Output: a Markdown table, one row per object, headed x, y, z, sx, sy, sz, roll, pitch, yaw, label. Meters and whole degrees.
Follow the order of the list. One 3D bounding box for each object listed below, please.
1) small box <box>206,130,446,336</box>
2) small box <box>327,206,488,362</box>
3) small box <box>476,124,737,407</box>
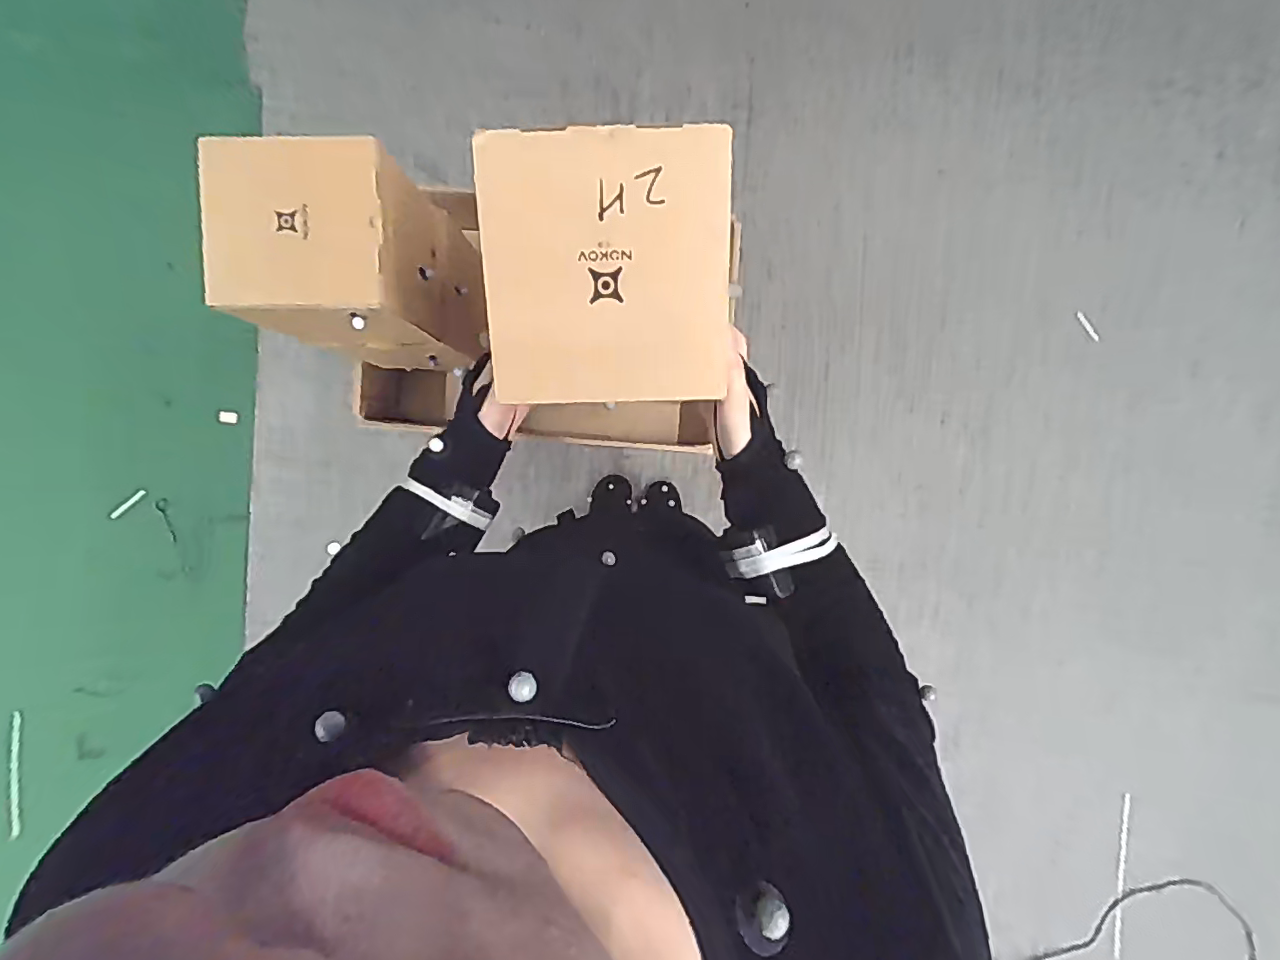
| x | y | z | sx | sy | sz | roll | pitch | yaw | label |
| --- | --- | --- | --- | --- | --- | --- | --- | --- | --- |
| -0.336 | -0.261 | 0.609 | 0.179 | 0.176 | 0.168 | -1 | 93 | 0 | small box |
| -0.321 | -0.268 | 0.772 | 0.168 | 0.176 | 0.179 | 1 | 92 | 0 | small box |
| -0.020 | -0.158 | 0.435 | 0.168 | 0.176 | 0.179 | -1 | 105 | -1 | small box |
